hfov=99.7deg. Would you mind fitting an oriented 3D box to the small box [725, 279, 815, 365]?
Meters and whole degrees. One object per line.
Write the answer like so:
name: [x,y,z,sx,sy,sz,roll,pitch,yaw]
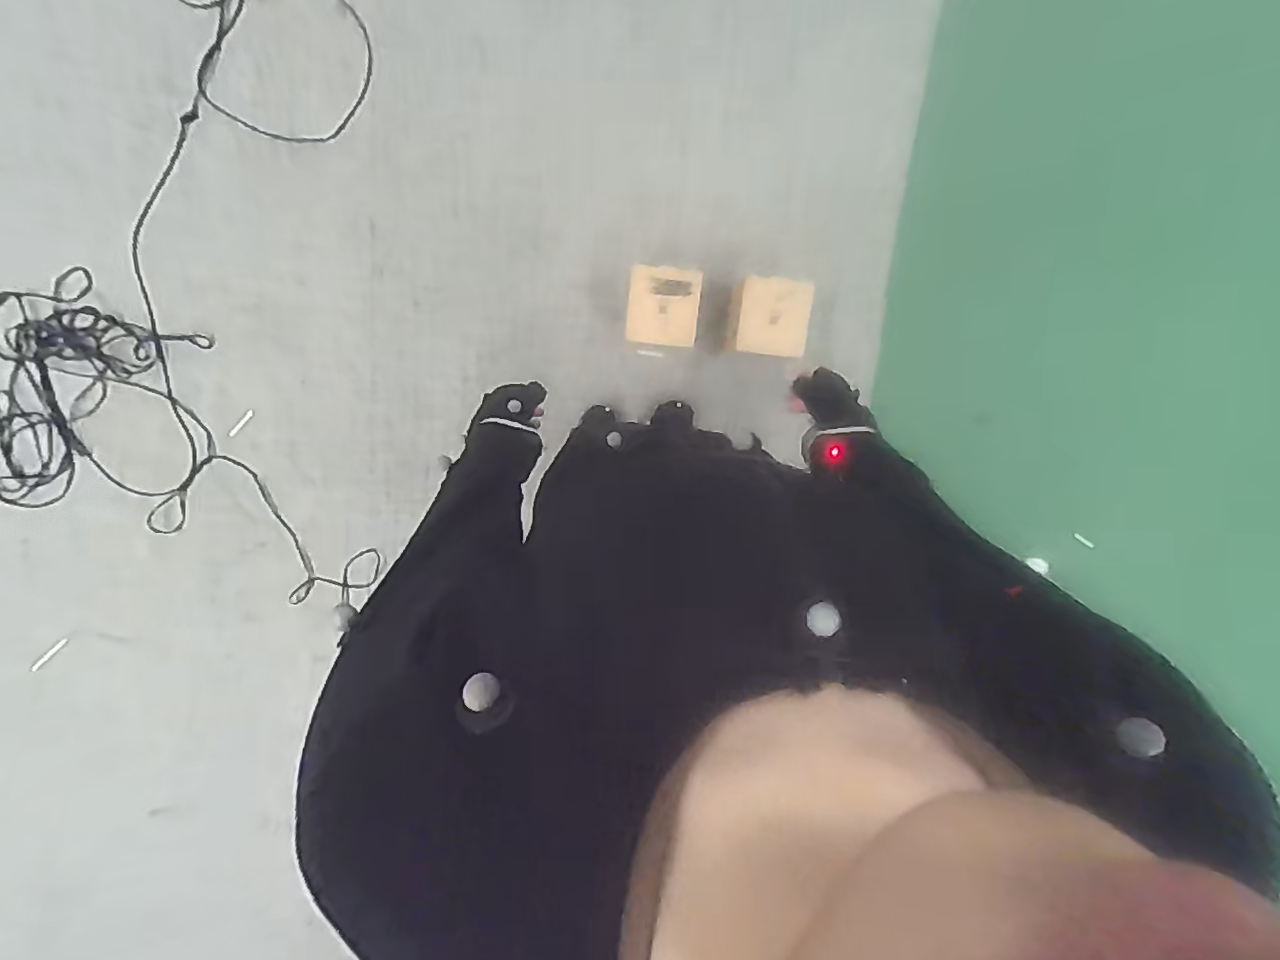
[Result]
small box: [0.313,-0.383,1.336,0.168,0.176,0.179,6,99,-3]
